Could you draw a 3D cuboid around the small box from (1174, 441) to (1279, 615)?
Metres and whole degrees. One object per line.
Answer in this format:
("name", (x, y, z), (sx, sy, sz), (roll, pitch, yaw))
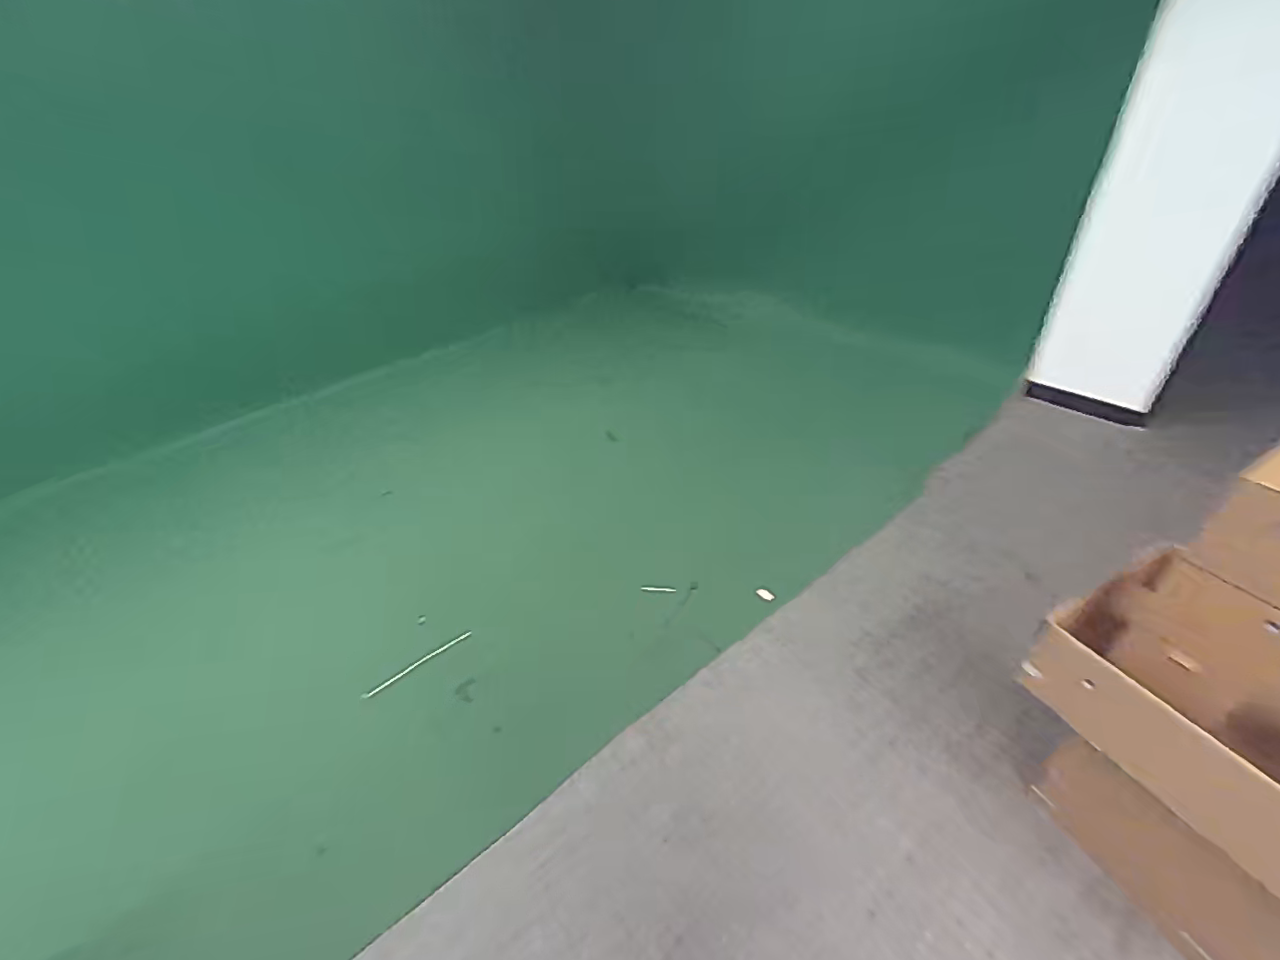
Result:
("small box", (0.948, 0.075, 0.782), (0.168, 0.176, 0.179), (-24, 43, -18))

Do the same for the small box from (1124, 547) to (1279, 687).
("small box", (0.965, 0.200, 0.889), (0.168, 0.176, 0.179), (-23, 43, -18))
